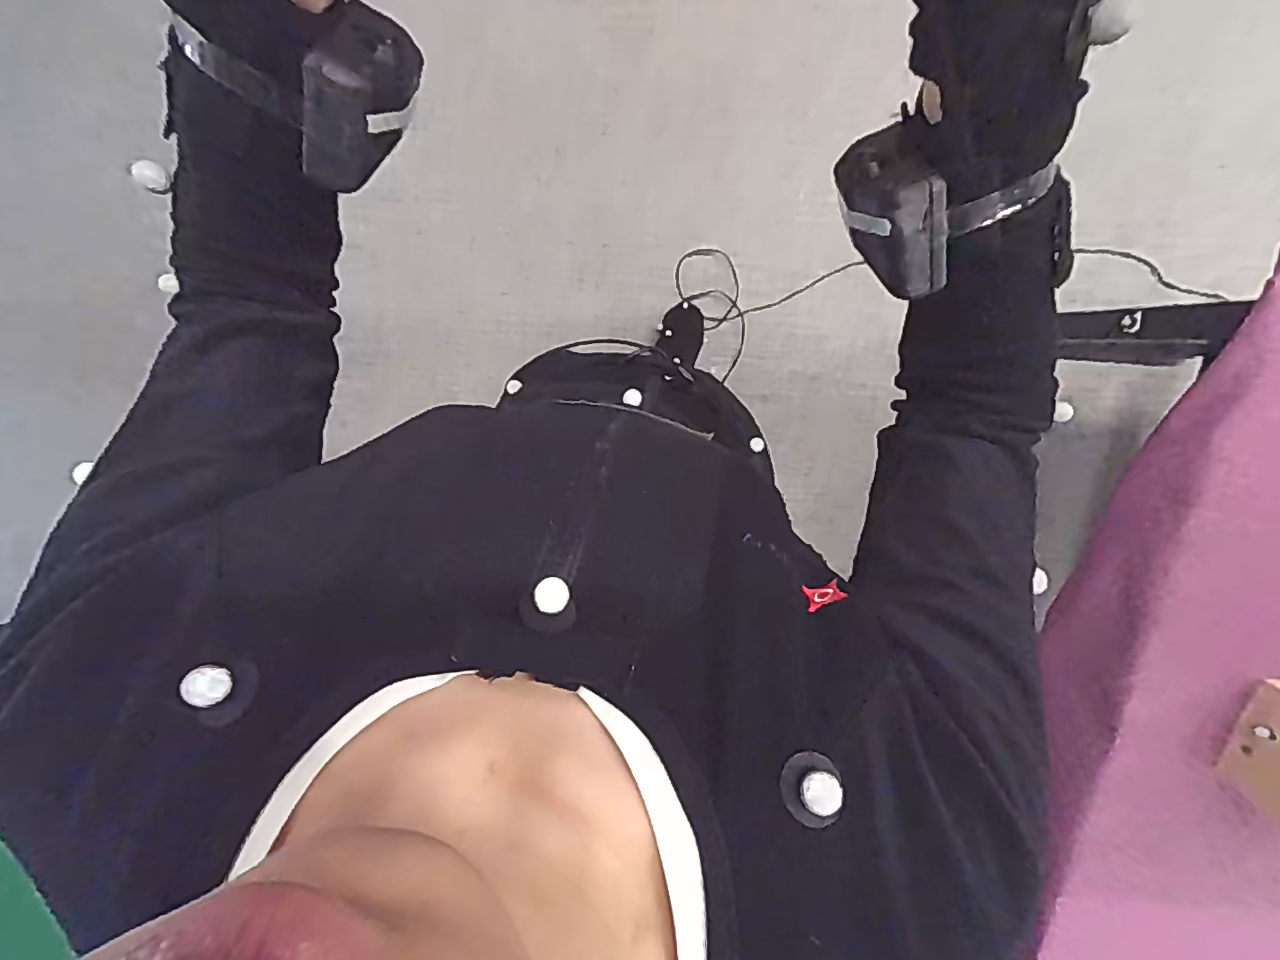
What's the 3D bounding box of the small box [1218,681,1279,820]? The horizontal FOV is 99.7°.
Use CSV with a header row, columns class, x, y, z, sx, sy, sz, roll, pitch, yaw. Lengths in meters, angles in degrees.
class,x,y,z,sx,sy,sz,roll,pitch,yaw
small box,0.941,0.384,0.699,0.179,0.176,0.168,8,103,1
